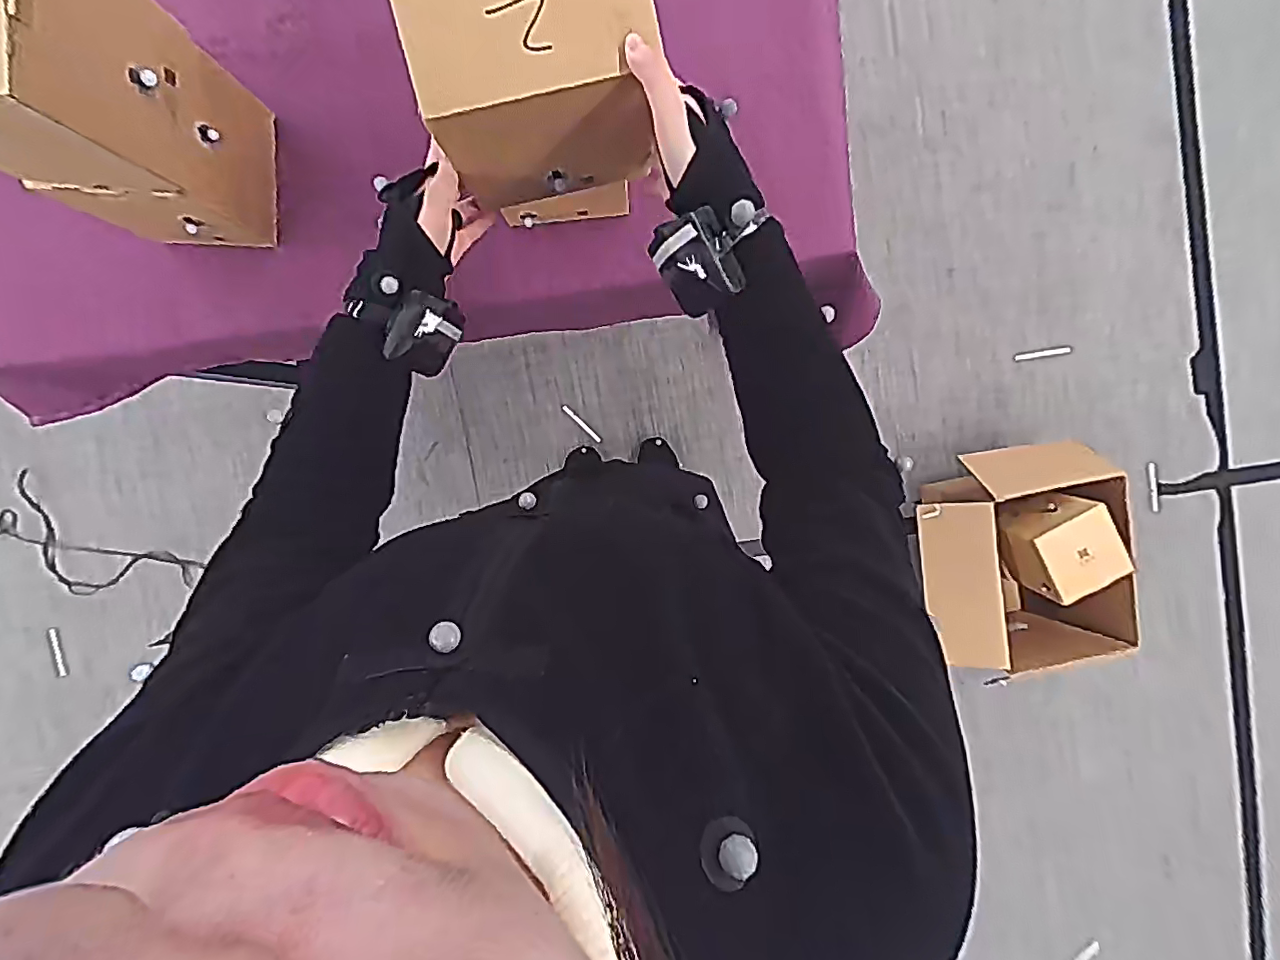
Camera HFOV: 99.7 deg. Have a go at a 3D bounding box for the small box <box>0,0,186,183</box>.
[{"bbox_3d":[-0.563,-0.389,0.484,0.179,0.176,0.168,4,96,-2],"label":"small box"}]

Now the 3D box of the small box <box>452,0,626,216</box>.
[{"bbox_3d":[-0.106,-0.434,0.645,0.168,0.176,0.179,-6,94,0],"label":"small box"}]

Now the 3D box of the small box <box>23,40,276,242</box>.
[{"bbox_3d":[-0.570,-0.402,0.648,0.168,0.176,0.179,3,95,-1],"label":"small box"}]

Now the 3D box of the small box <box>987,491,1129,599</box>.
[{"bbox_3d":[0.952,0.140,1.249,0.168,0.176,0.179,-30,99,5],"label":"small box"}]
